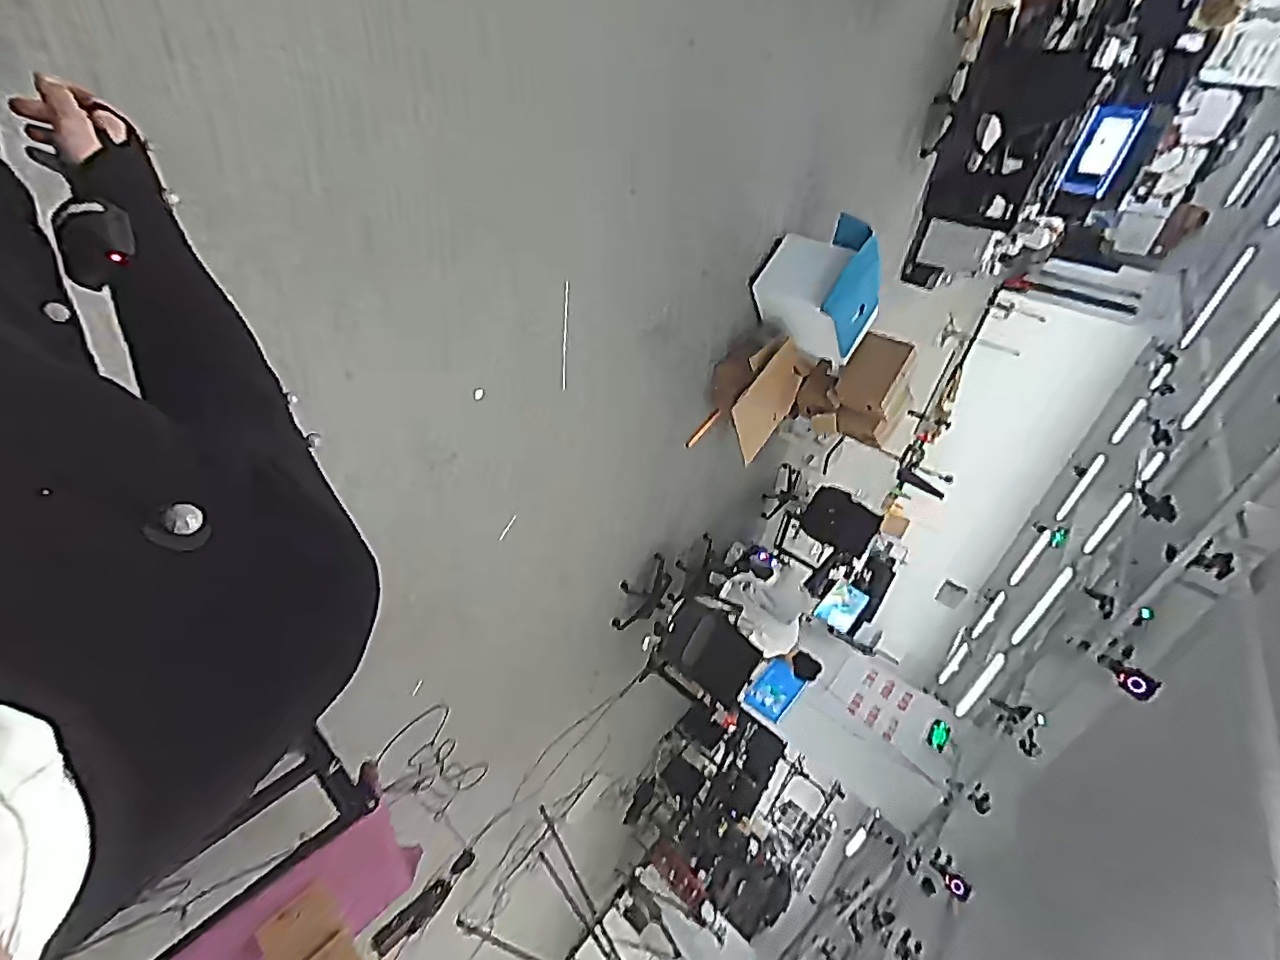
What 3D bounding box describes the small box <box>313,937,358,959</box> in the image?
[{"bbox_3d":[-0.753,1.271,1.314,0.168,0.176,0.179,-29,139,-41],"label":"small box"}]
